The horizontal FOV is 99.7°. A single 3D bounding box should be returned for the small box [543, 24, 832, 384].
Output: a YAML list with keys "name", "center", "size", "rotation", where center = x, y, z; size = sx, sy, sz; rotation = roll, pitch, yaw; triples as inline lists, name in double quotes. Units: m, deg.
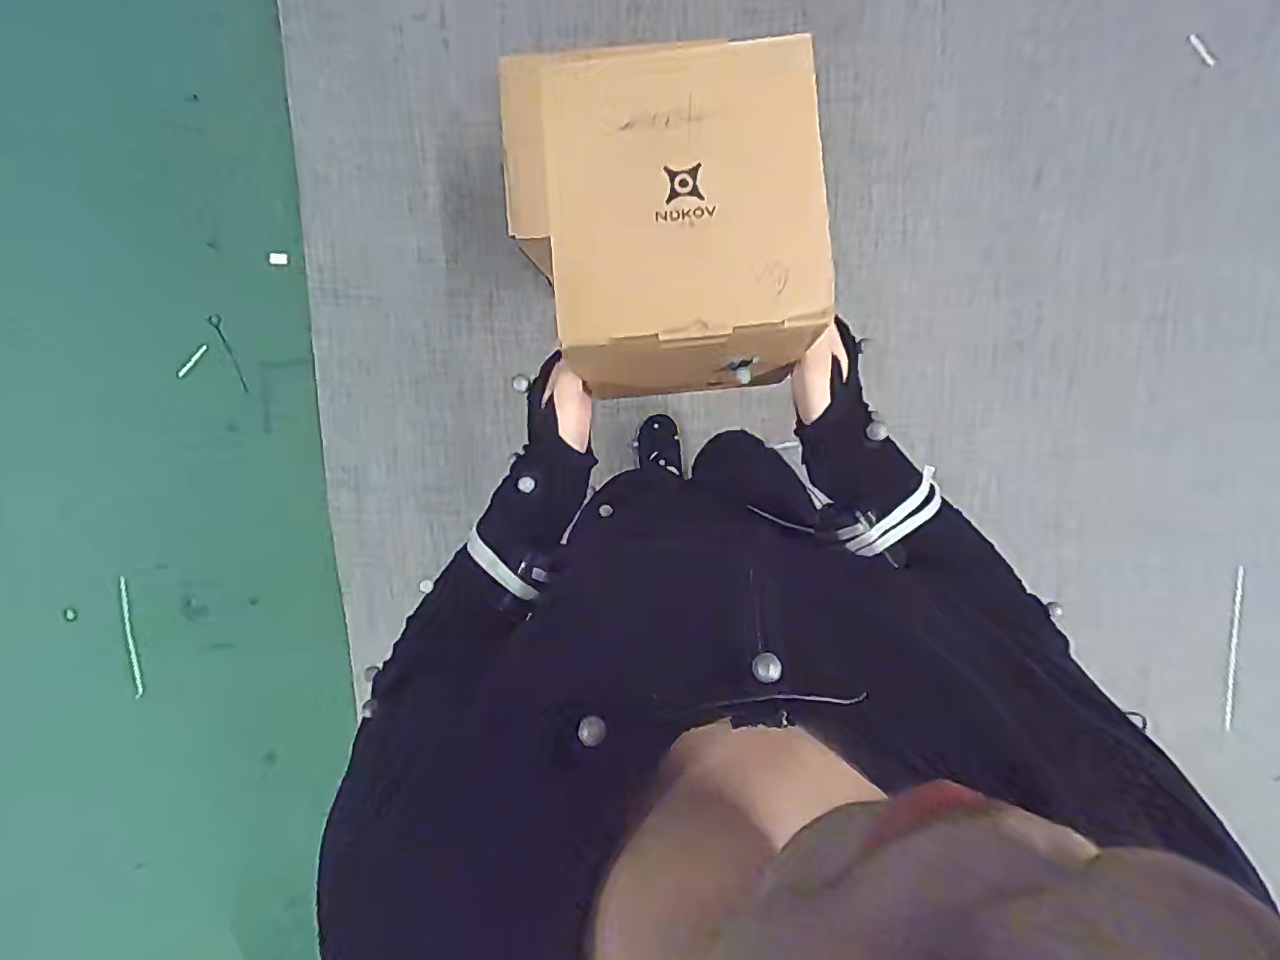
- name: "small box"
  center: [0.032, -0.174, 0.401]
  size: [0.168, 0.176, 0.179]
  rotation: [-4, 86, 4]
